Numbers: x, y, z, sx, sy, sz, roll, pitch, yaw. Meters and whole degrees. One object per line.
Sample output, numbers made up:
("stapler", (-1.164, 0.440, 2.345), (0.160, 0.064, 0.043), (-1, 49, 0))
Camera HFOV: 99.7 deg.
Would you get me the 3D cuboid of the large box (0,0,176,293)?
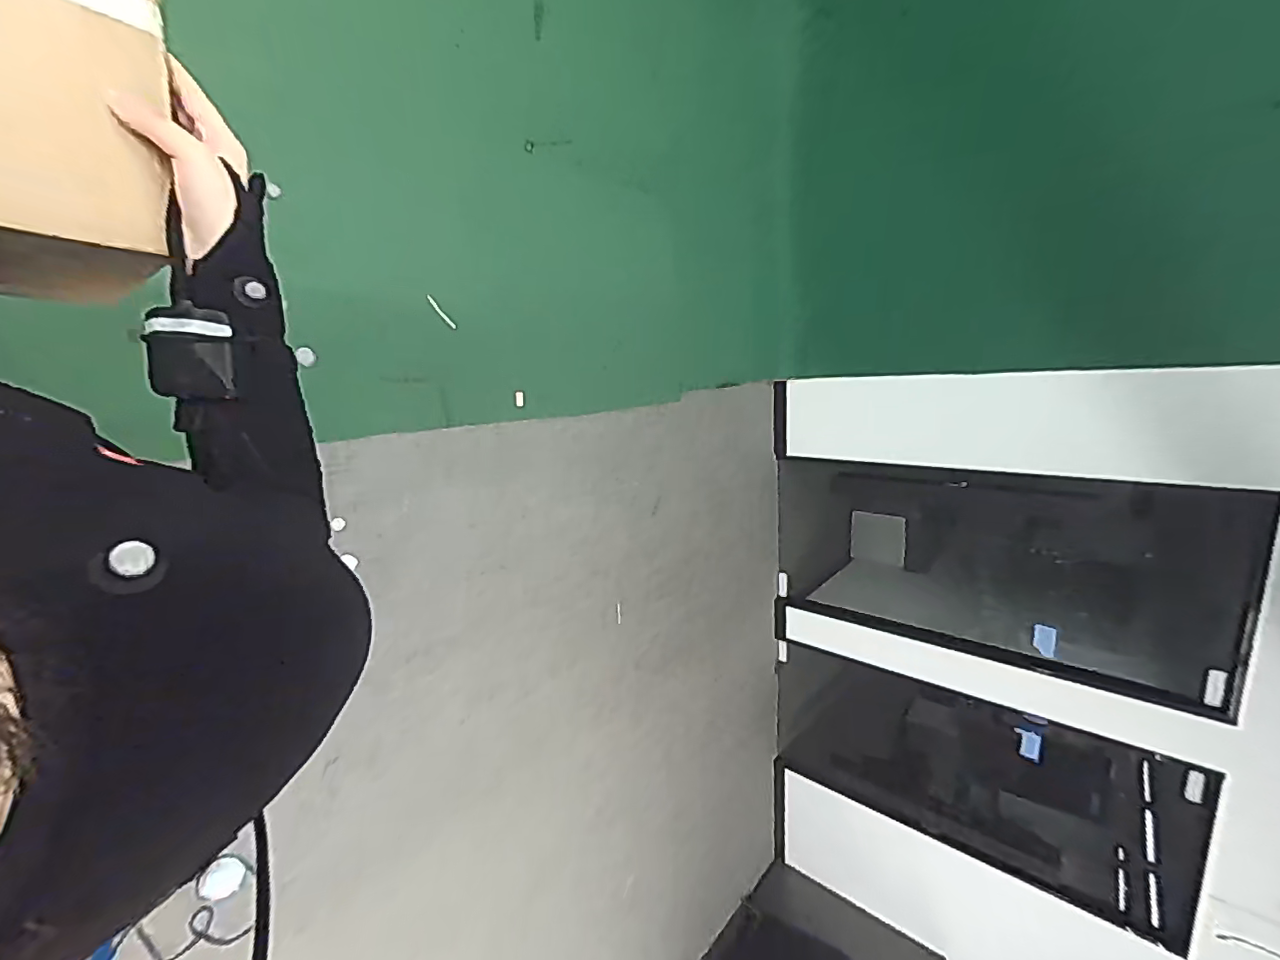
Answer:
("large box", (-0.585, -0.318, 0.318), (0.408, 0.320, 0.320), (-8, 102, -52))
